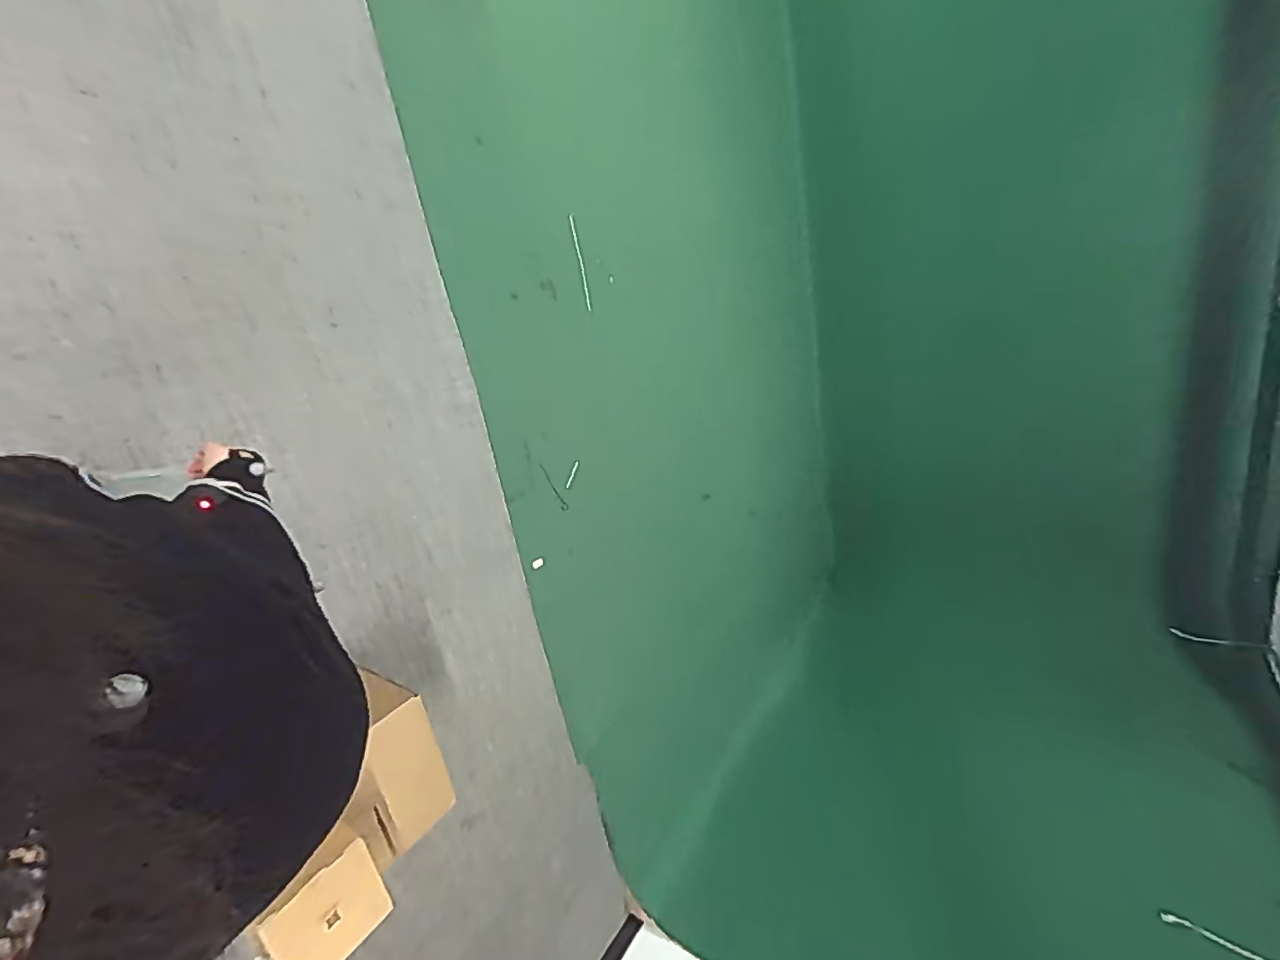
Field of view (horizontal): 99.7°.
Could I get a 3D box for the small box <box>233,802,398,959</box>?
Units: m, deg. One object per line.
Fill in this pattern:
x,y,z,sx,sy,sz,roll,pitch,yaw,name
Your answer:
-0.562,0.710,0.941,0.168,0.176,0.179,-32,116,-48,small box
